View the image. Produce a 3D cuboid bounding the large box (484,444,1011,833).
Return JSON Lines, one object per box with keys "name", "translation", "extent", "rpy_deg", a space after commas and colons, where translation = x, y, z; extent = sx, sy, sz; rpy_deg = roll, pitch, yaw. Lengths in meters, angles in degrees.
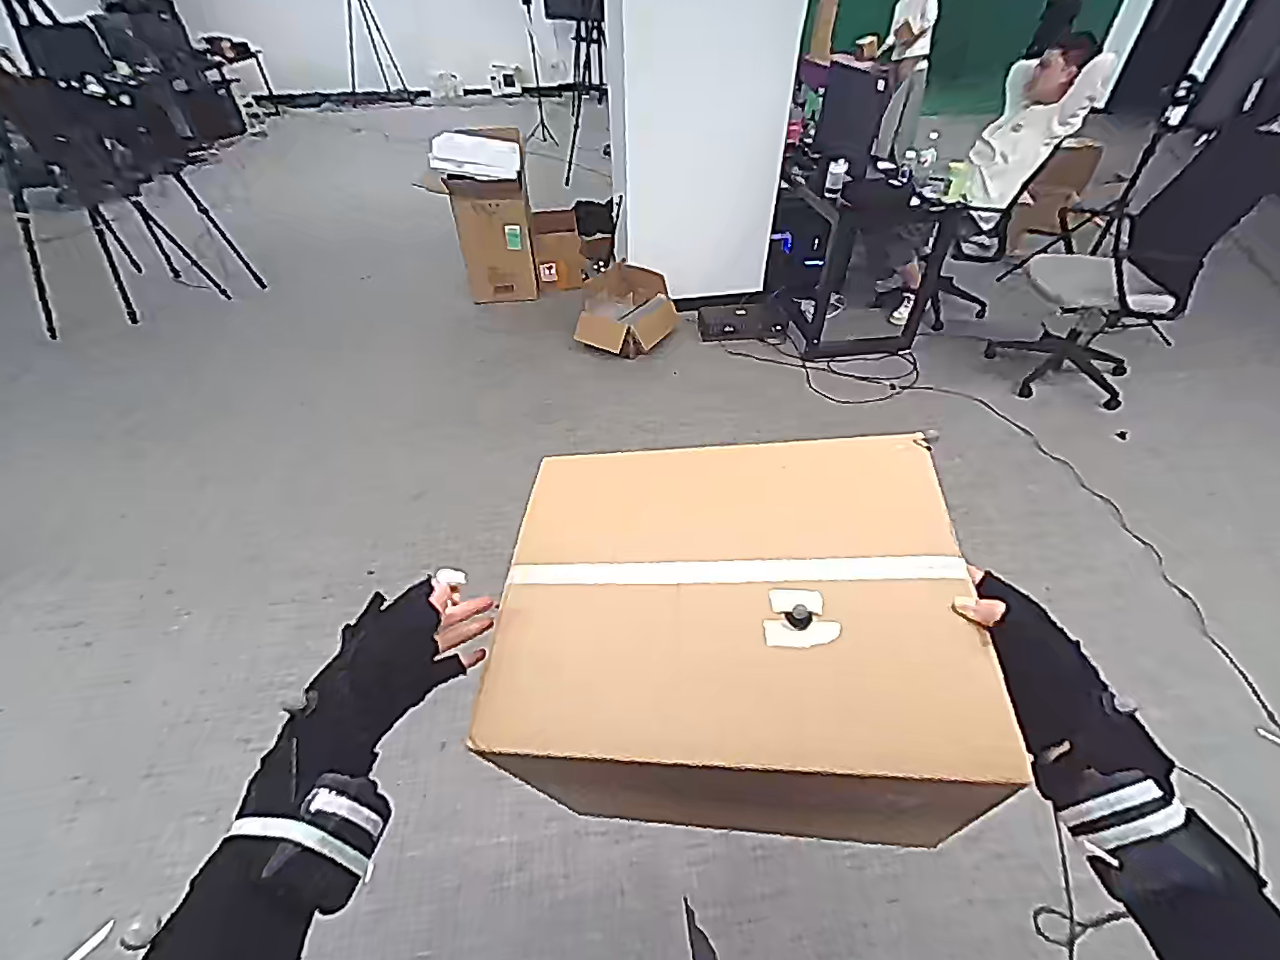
{"name": "large box", "translation": [0.102, 0.186, 0.613], "extent": [0.408, 0.320, 0.320], "rpy_deg": [-3, 50, 12]}
